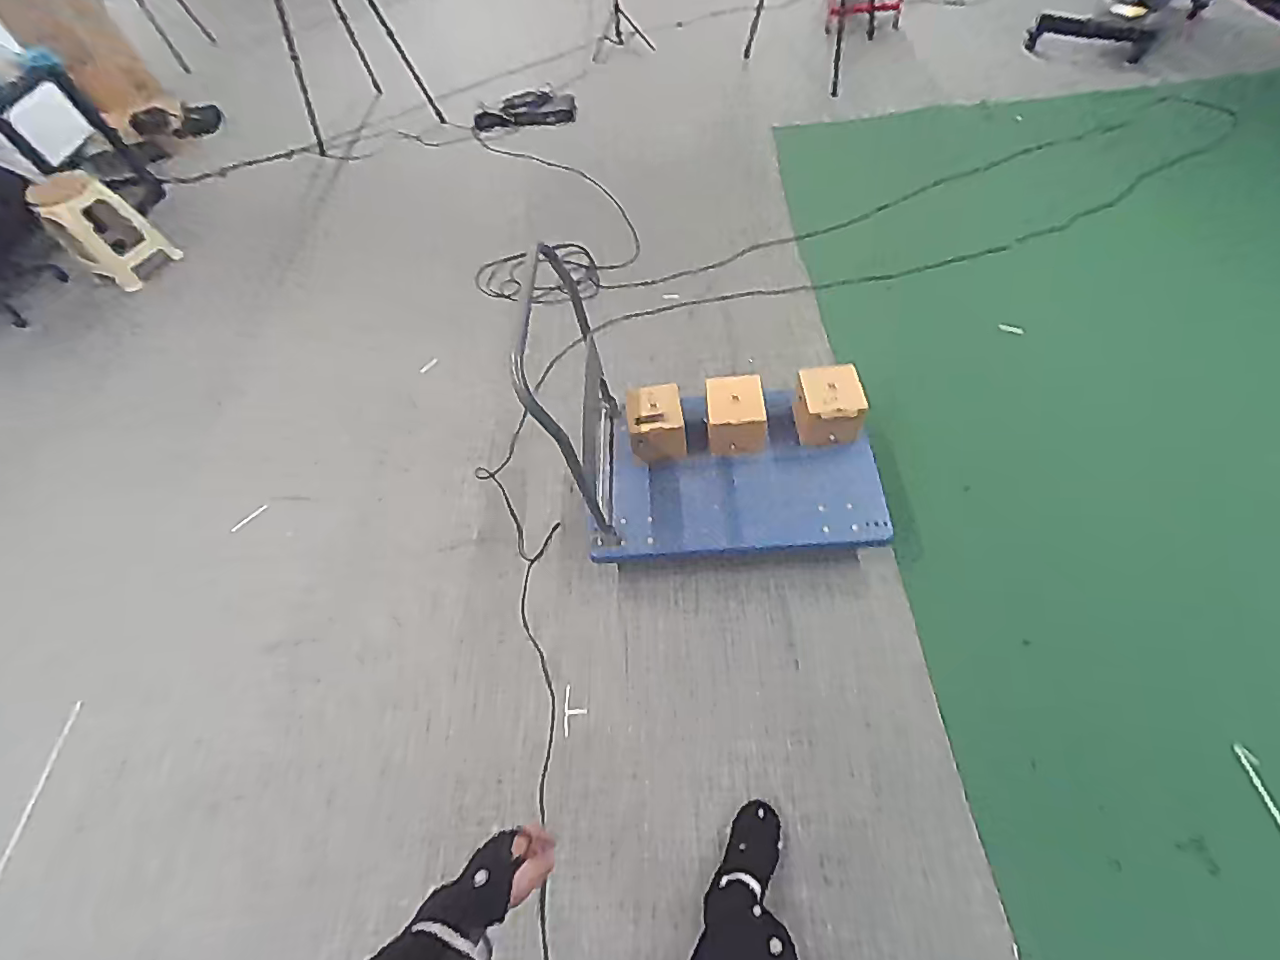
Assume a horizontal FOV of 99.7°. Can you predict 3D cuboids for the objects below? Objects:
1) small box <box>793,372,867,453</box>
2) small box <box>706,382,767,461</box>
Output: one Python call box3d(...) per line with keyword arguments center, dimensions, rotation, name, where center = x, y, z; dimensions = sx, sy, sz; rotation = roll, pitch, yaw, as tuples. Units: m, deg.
box3d(center=(0.571, -0.204, 1.651), dimensions=(0.168, 0.176, 0.179), rotation=(-5, 57, 5), name="small box")
box3d(center=(0.294, -0.179, 1.674), dimensions=(0.168, 0.176, 0.179), rotation=(-4, 58, 5), name="small box")
